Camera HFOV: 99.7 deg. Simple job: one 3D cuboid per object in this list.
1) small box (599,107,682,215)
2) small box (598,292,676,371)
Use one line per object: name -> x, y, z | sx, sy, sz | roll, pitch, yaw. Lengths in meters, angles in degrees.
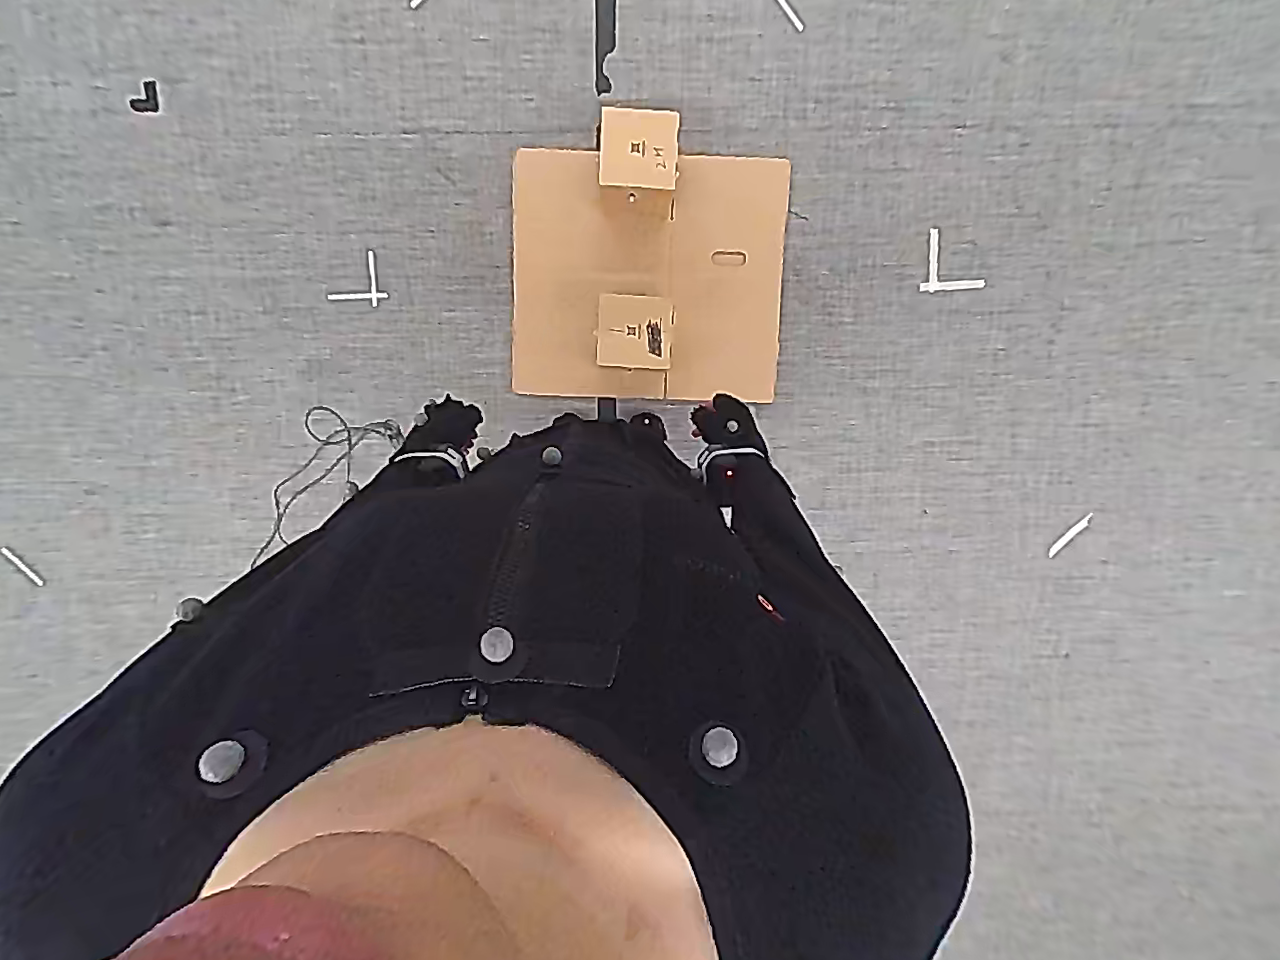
small box -> -0.001, -0.748, 1.284 | 0.179, 0.176, 0.168 | 3, 98, -3
small box -> -0.010, -0.361, 1.340 | 0.179, 0.176, 0.168 | 3, 98, -2
